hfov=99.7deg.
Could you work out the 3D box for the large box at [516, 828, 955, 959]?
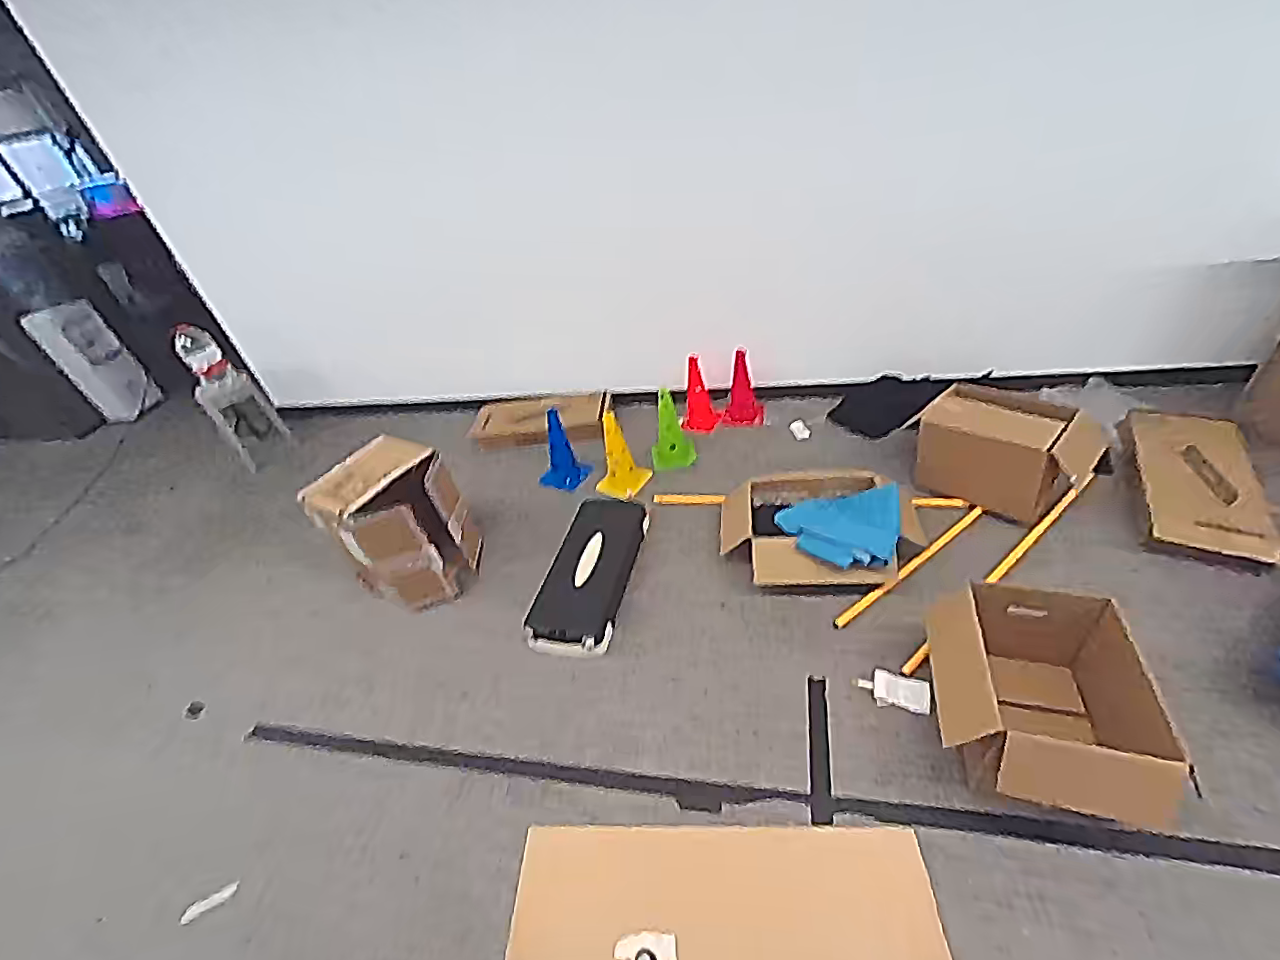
[{"bbox_3d":[0.103,0.577,0.549,0.408,0.320,0.320,-6,42,9],"label":"large box"}]
